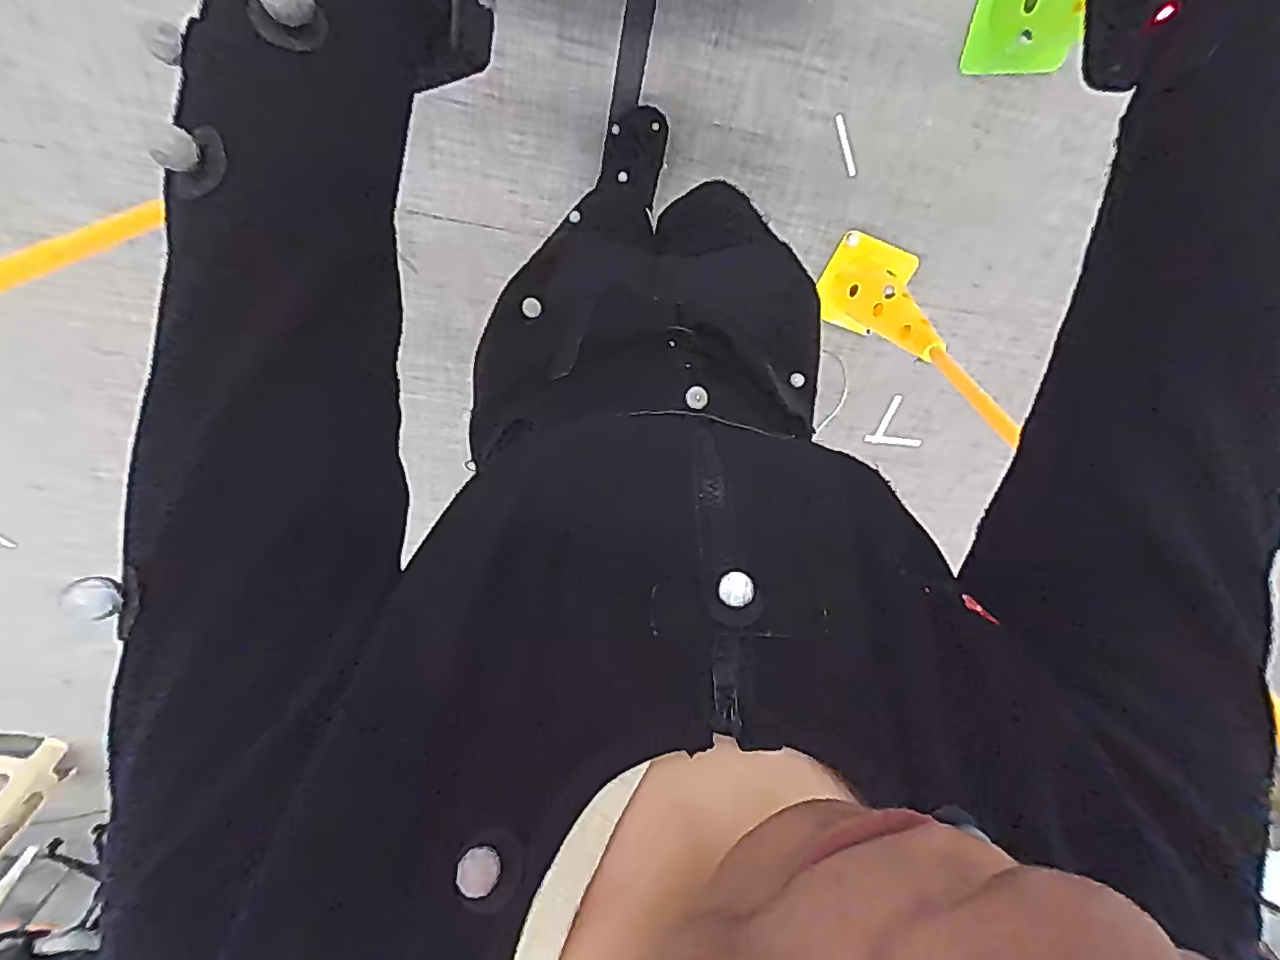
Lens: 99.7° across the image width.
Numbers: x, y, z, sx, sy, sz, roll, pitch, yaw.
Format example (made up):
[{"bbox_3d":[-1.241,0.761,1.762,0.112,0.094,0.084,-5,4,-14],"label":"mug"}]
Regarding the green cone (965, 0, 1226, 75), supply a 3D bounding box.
[{"bbox_3d":[0.698,-0.719,0.807,0.200,0.368,0.202,-4,131,-2],"label":"green cone"}]
